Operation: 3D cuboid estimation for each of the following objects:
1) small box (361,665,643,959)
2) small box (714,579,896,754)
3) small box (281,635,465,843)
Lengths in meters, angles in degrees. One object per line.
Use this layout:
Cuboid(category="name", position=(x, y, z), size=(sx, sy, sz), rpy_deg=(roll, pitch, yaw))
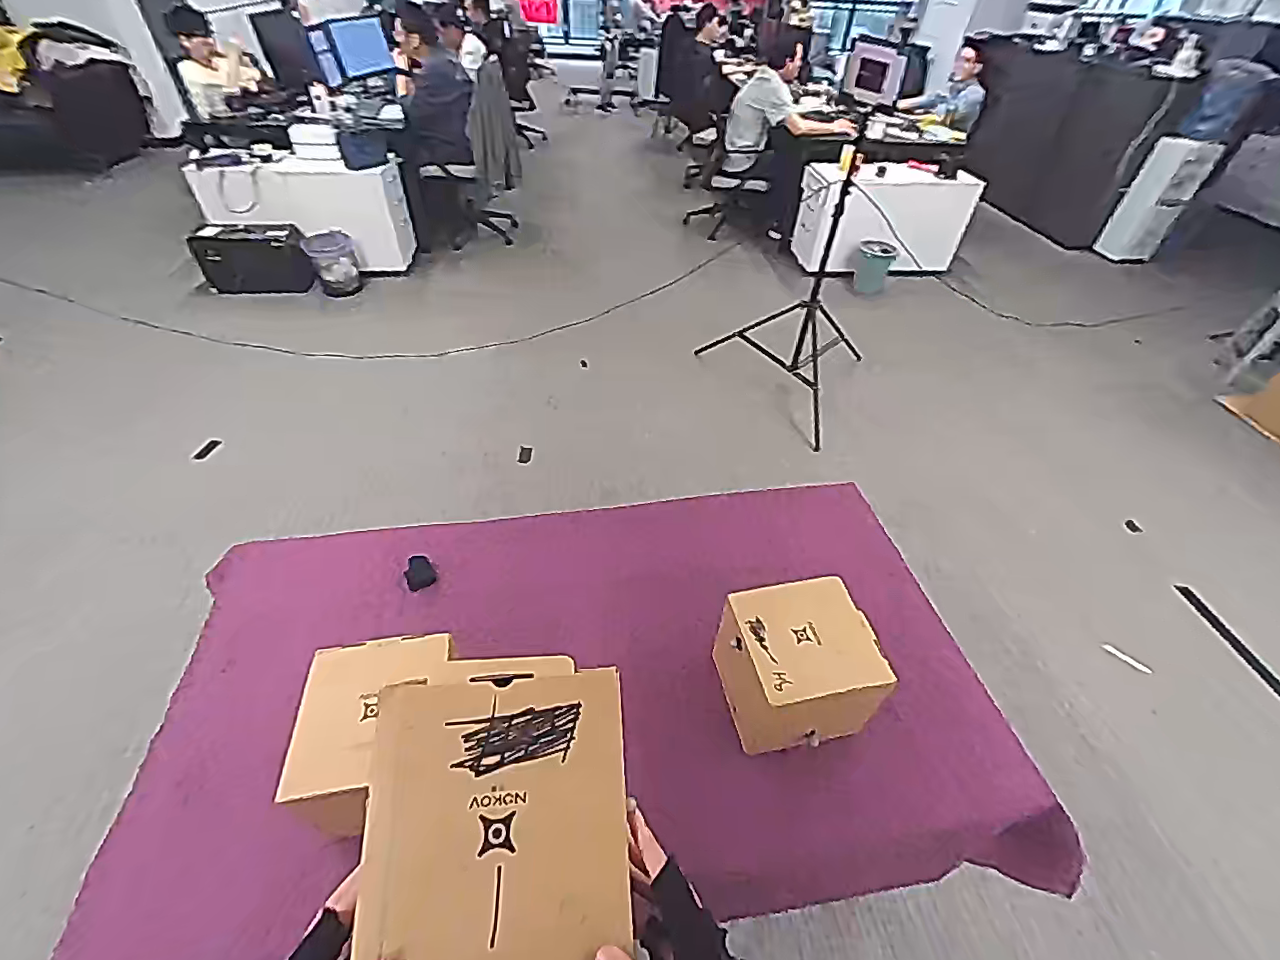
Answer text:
Cuboid(category="small box", position=(-0.095, 0.251, 0.420), size=(0.168, 0.176, 0.179), rpy_deg=(-1, 64, -9))
Cuboid(category="small box", position=(0.221, 0.267, 0.777), size=(0.179, 0.176, 0.168), rpy_deg=(-7, 44, -11))
Cuboid(category="small box", position=(-0.310, 0.326, 0.684), size=(0.168, 0.176, 0.179), rpy_deg=(-7, 45, -9))
